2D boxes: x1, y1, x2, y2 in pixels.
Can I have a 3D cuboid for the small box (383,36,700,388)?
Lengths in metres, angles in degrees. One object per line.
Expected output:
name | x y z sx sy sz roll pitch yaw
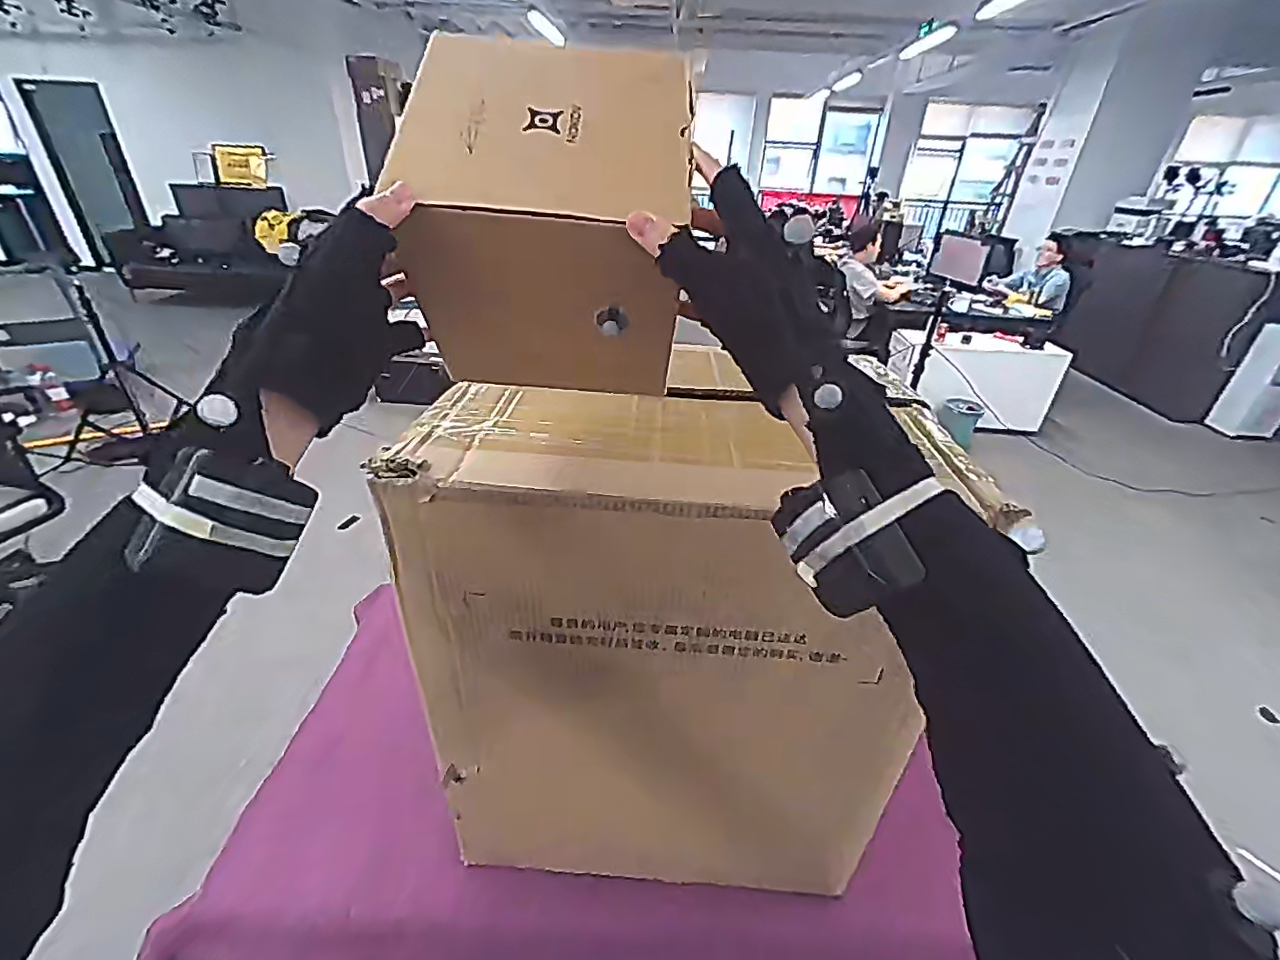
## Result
small box | -0.054 -0.184 0.402 0.179 0.176 0.168 3 63 -1
